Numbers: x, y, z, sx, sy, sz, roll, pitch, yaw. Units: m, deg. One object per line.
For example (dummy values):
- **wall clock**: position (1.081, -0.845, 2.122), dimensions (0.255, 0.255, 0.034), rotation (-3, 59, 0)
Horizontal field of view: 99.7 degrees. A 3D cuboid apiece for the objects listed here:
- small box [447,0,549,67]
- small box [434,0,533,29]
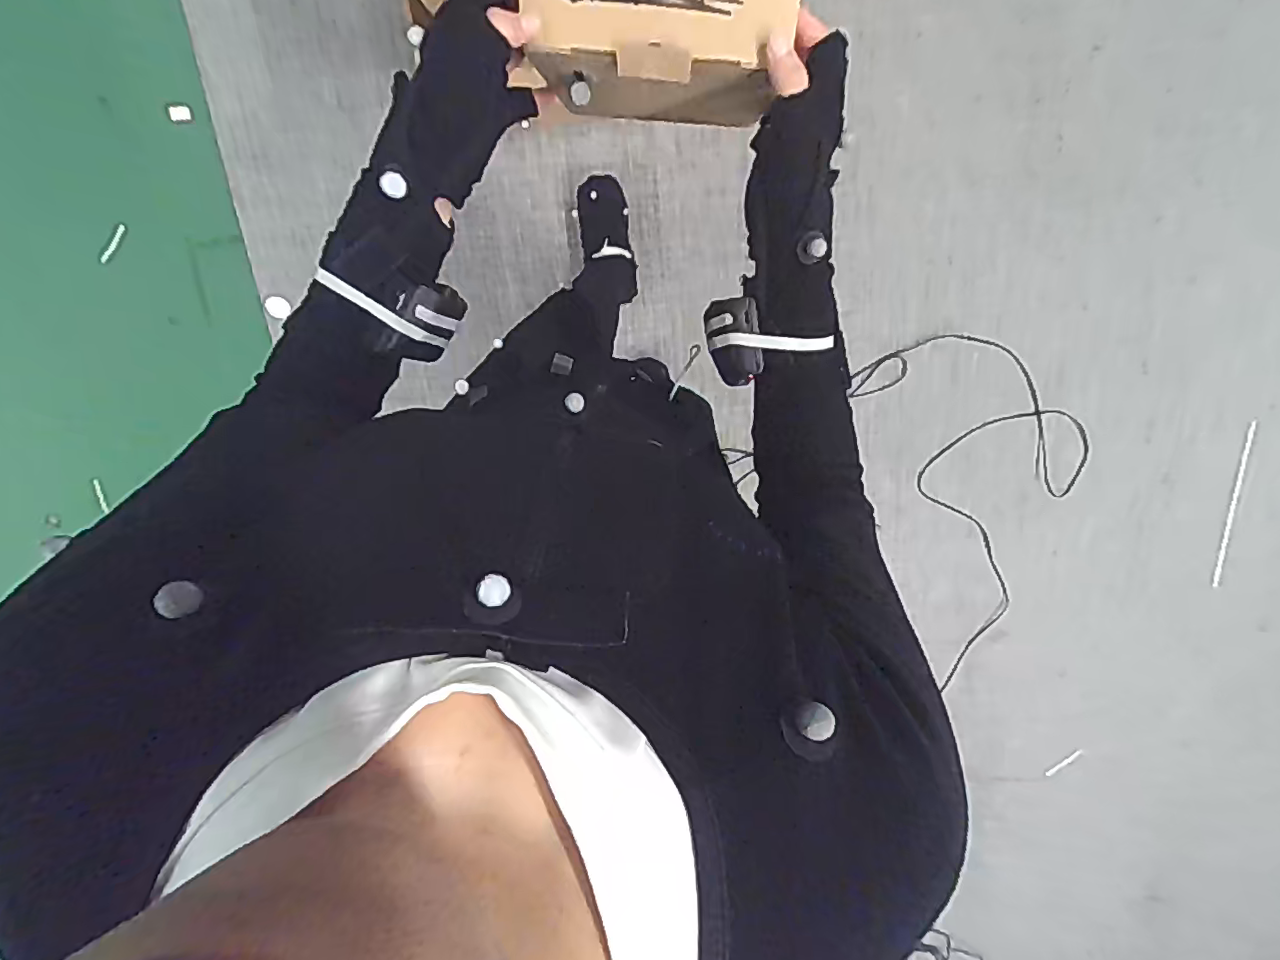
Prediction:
- **small box**: position (-0.279, -0.947, 1.051), dimensions (0.168, 0.176, 0.179), rotation (-4, 107, 3)
- **small box**: position (-0.284, -0.900, 0.895), dimensions (0.168, 0.176, 0.179), rotation (-5, 107, 3)
